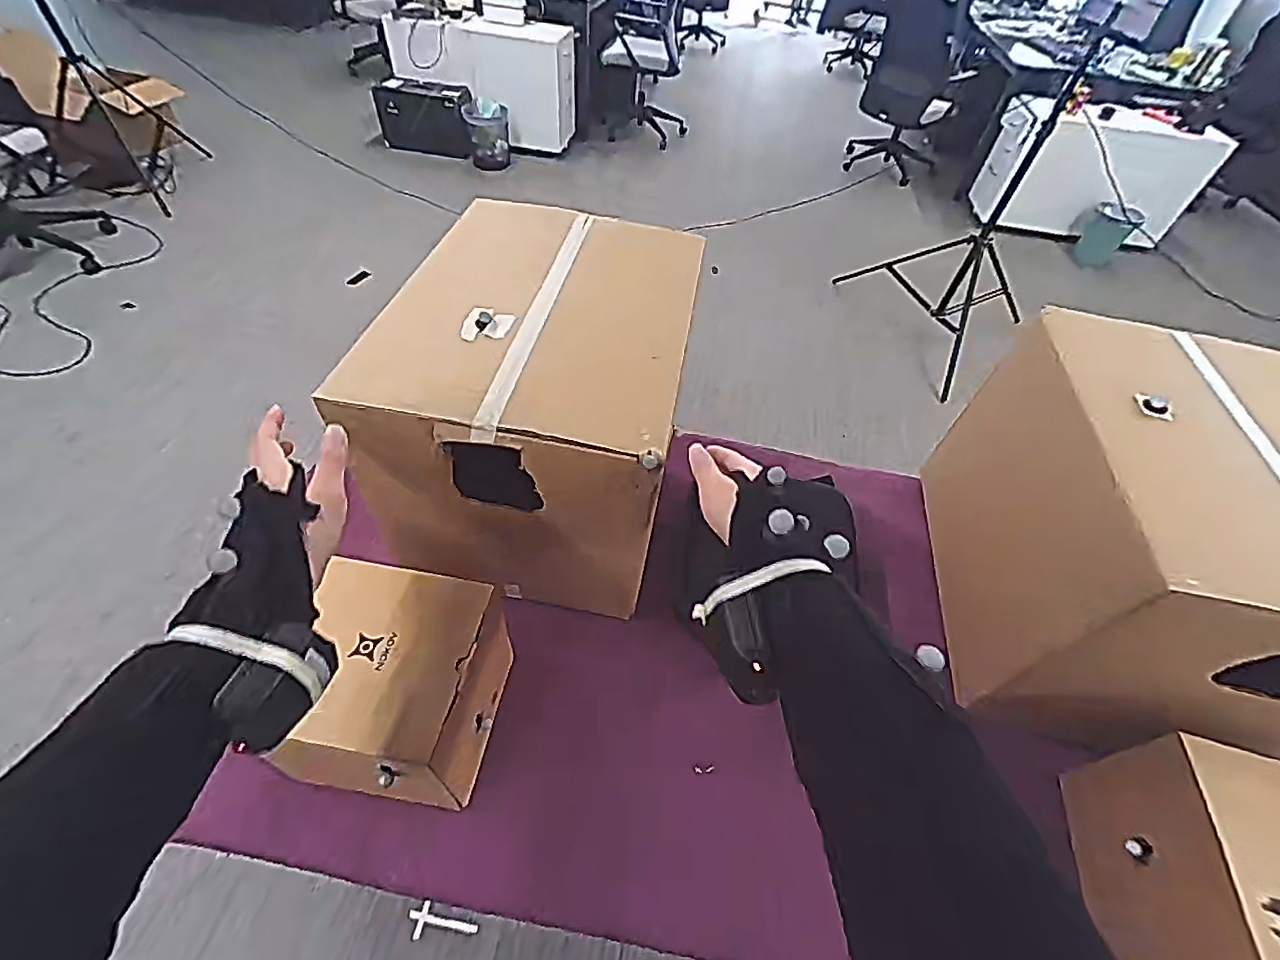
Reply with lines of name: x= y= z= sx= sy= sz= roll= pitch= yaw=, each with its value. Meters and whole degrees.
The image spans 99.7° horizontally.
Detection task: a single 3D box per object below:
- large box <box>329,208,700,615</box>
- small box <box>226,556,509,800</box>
large box: x=-0.112 y=-0.091 z=0.709 sx=0.320 sy=0.320 sz=0.408 roll=9 pitch=52 yaw=2
small box: x=-0.242 y=0.200 z=0.539 sx=0.179 sy=0.176 sz=0.168 roll=9 pitch=49 yaw=1
